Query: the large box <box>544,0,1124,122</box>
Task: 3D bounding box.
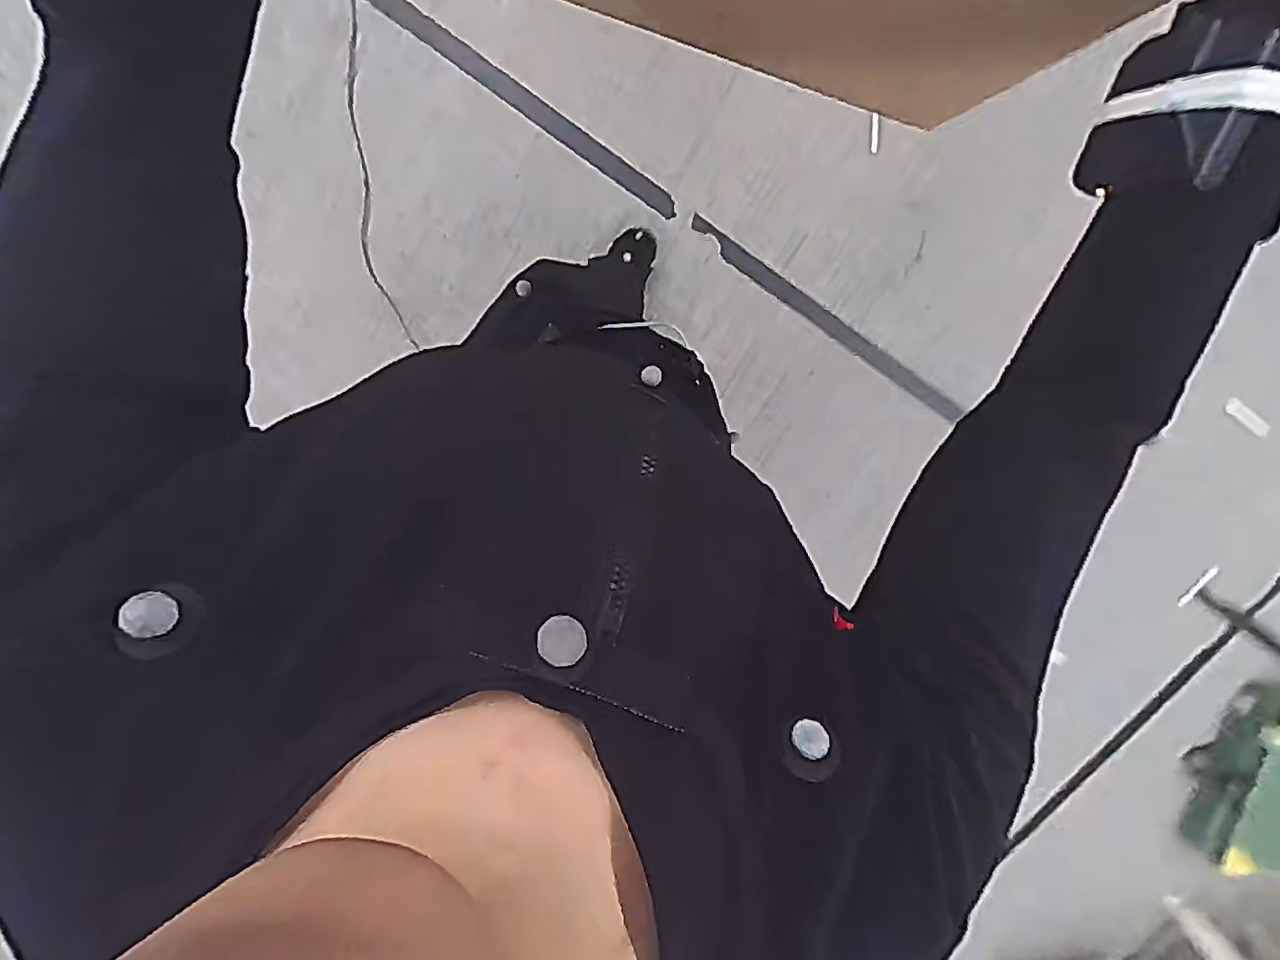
[{"bbox_3d":[0.125,-0.486,0.331,0.408,0.320,0.320,16,111,-4],"label":"large box"}]
